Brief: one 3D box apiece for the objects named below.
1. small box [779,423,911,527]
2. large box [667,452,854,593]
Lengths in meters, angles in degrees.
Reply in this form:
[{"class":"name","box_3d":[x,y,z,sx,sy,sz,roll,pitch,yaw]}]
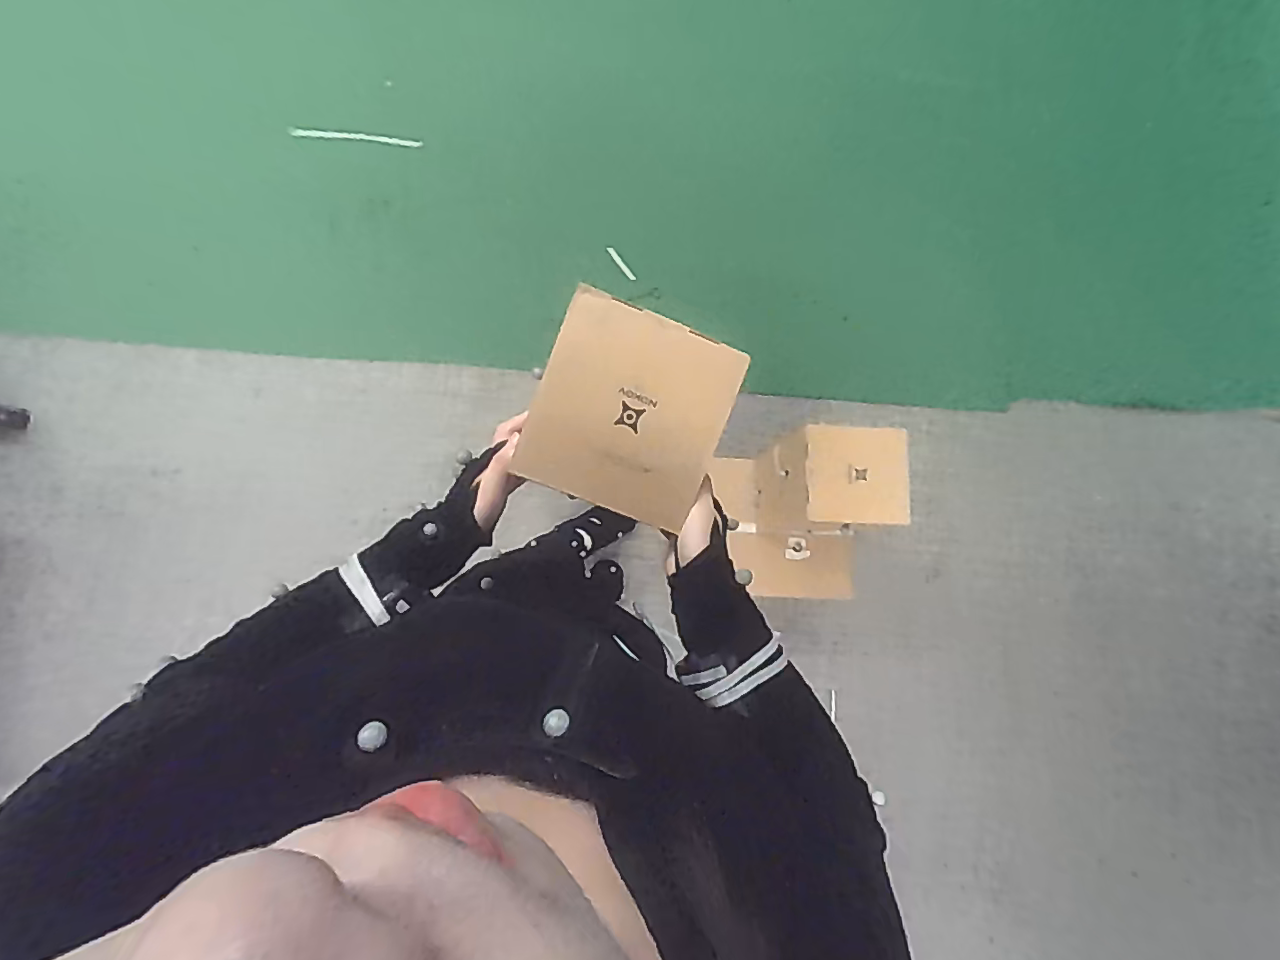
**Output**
[{"class":"small box","box_3d":[0.365,-0.002,0.985,0.179,0.176,0.168,3,83,-1]},{"class":"large box","box_3d":[0.285,0.111,1.382,0.408,0.320,0.320,3,85,-3]}]
